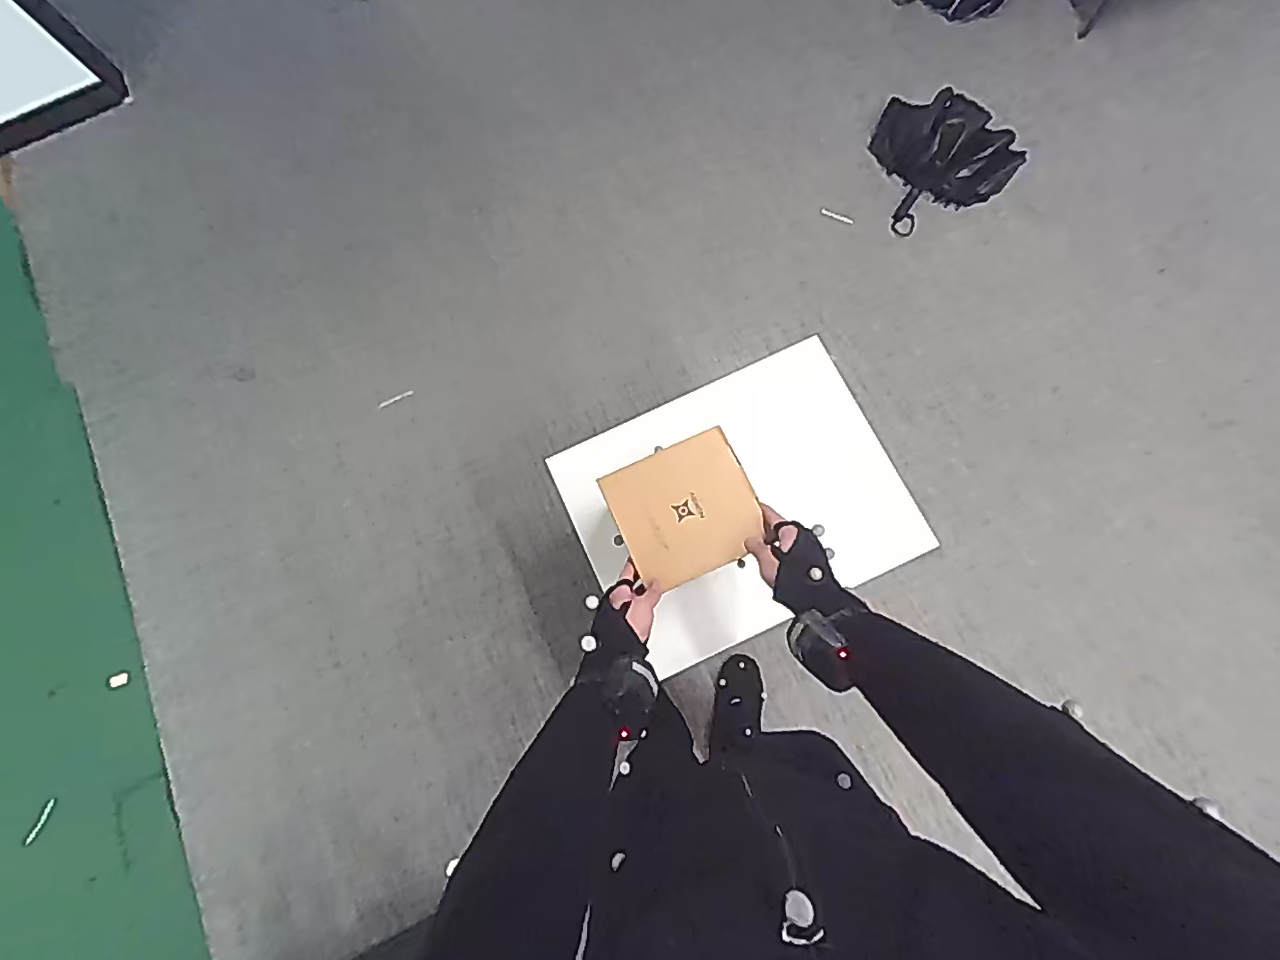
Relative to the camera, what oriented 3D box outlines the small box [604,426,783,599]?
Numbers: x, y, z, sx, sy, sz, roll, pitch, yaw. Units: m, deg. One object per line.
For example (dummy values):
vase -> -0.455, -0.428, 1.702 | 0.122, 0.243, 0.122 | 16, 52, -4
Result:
small box -> 0.066, 0.050, 0.740 | 0.179, 0.176, 0.168 | -24, 79, -3
